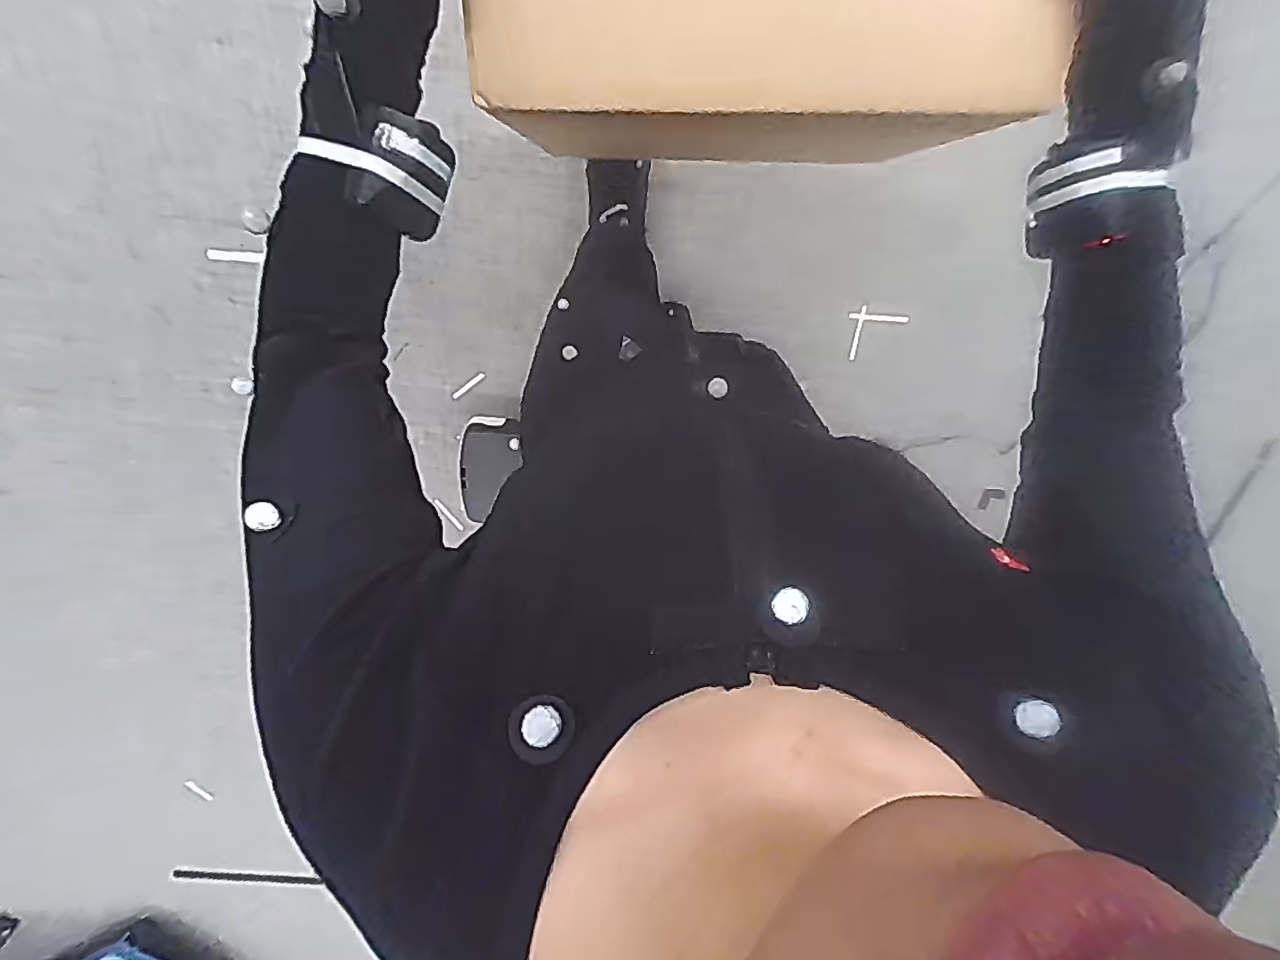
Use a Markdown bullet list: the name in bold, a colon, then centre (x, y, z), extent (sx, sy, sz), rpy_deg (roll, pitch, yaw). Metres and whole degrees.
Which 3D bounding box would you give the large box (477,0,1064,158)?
- **large box**: centre (0.086, -0.472, 0.457), extent (0.408, 0.320, 0.320), rpy_deg (0, 115, 0)
